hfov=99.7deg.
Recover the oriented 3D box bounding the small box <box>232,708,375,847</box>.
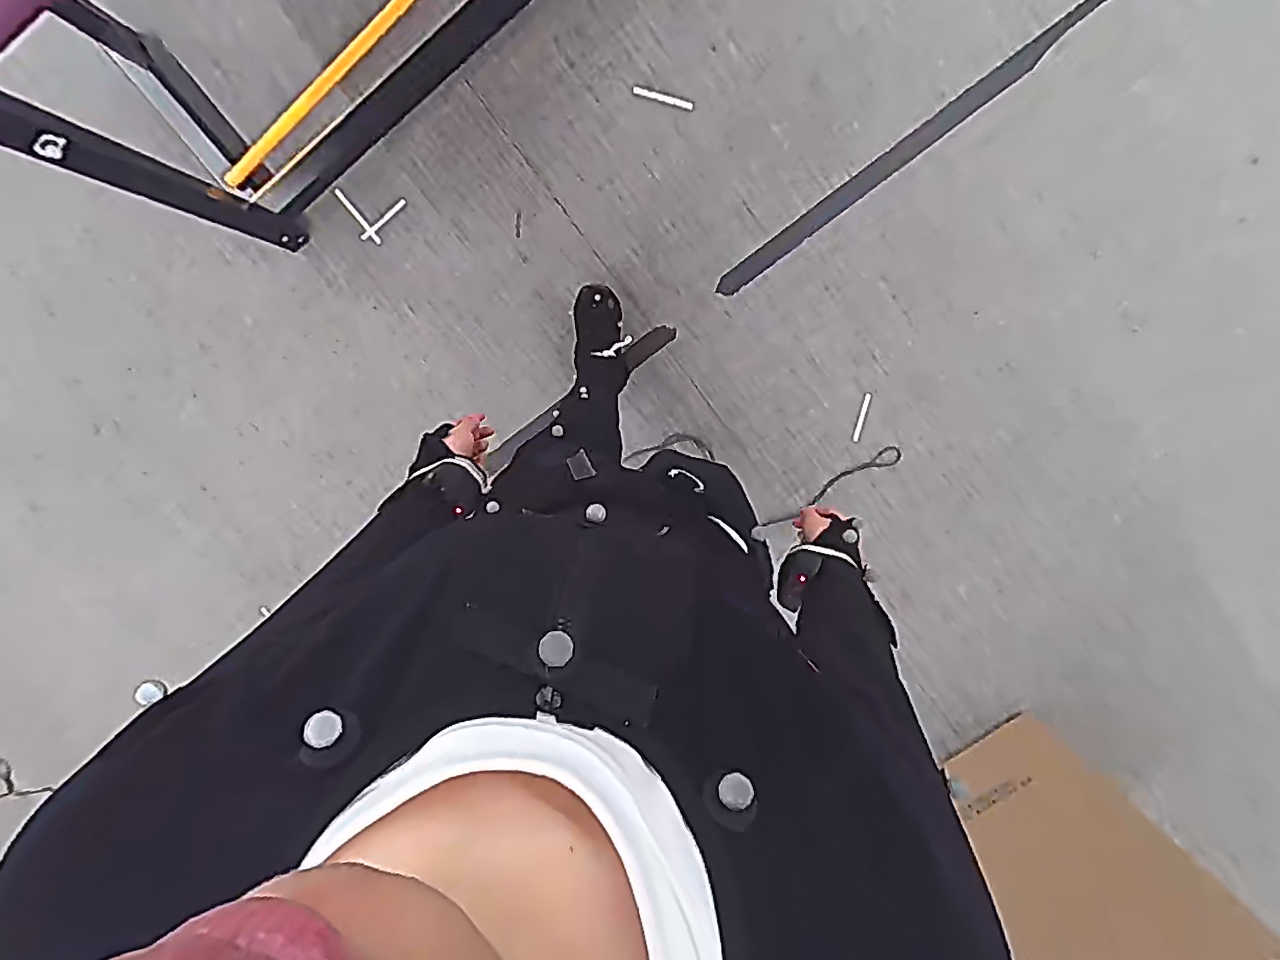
[{"bbox_3d":[-0.744,0.661,1.216,0.179,0.176,0.168,-39,97,6],"label":"small box"}]
